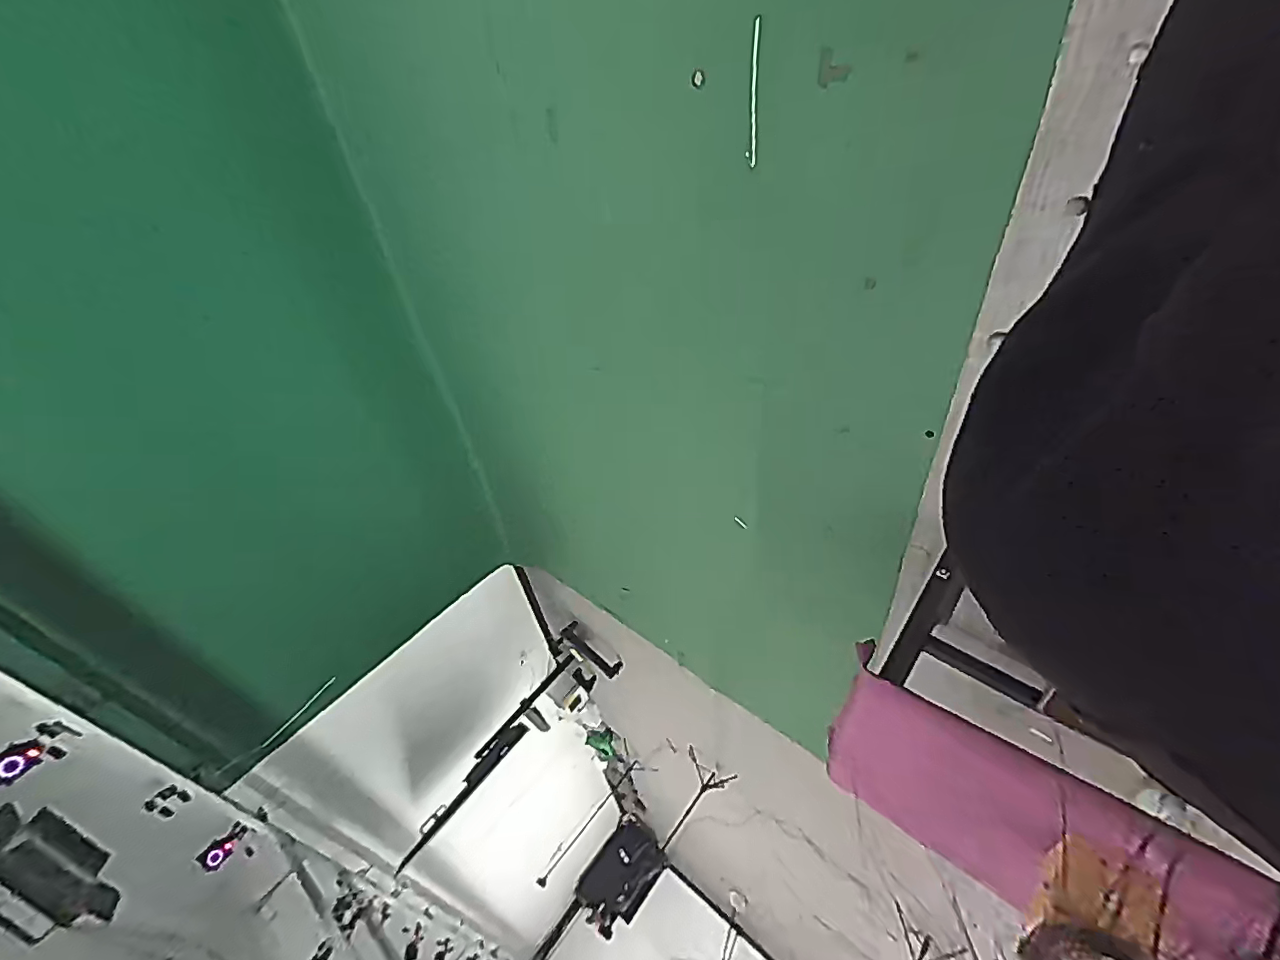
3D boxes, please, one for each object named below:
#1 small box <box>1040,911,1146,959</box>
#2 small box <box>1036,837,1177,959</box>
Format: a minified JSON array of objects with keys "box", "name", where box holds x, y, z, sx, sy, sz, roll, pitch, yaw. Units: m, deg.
[{"box":[0.829,0.943,0.979,0.168,0.176,0.179,17,137,40],"name":"small box"},{"box":[0.933,0.864,1.084,0.168,0.176,0.179,23,141,36],"name":"small box"}]
